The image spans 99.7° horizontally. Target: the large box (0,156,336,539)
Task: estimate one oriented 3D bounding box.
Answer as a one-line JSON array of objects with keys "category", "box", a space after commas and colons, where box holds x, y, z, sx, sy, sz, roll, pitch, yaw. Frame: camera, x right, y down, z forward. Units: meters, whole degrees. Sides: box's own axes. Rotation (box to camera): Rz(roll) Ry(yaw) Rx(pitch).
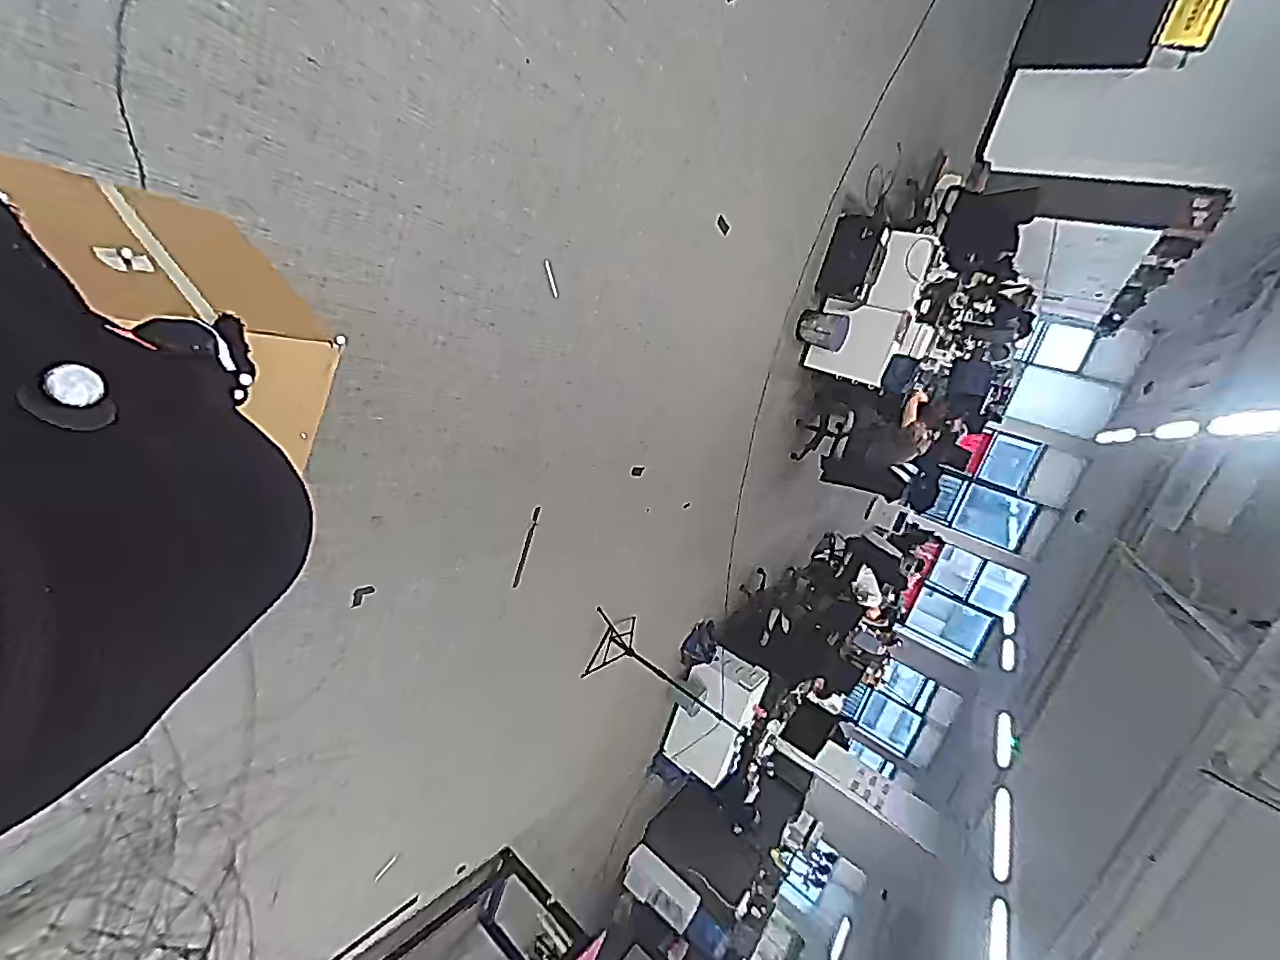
[{"category": "large box", "box": [-0.724, -0.183, 0.766, 0.320, 0.408, 0.320, -12, 141, -58]}]
